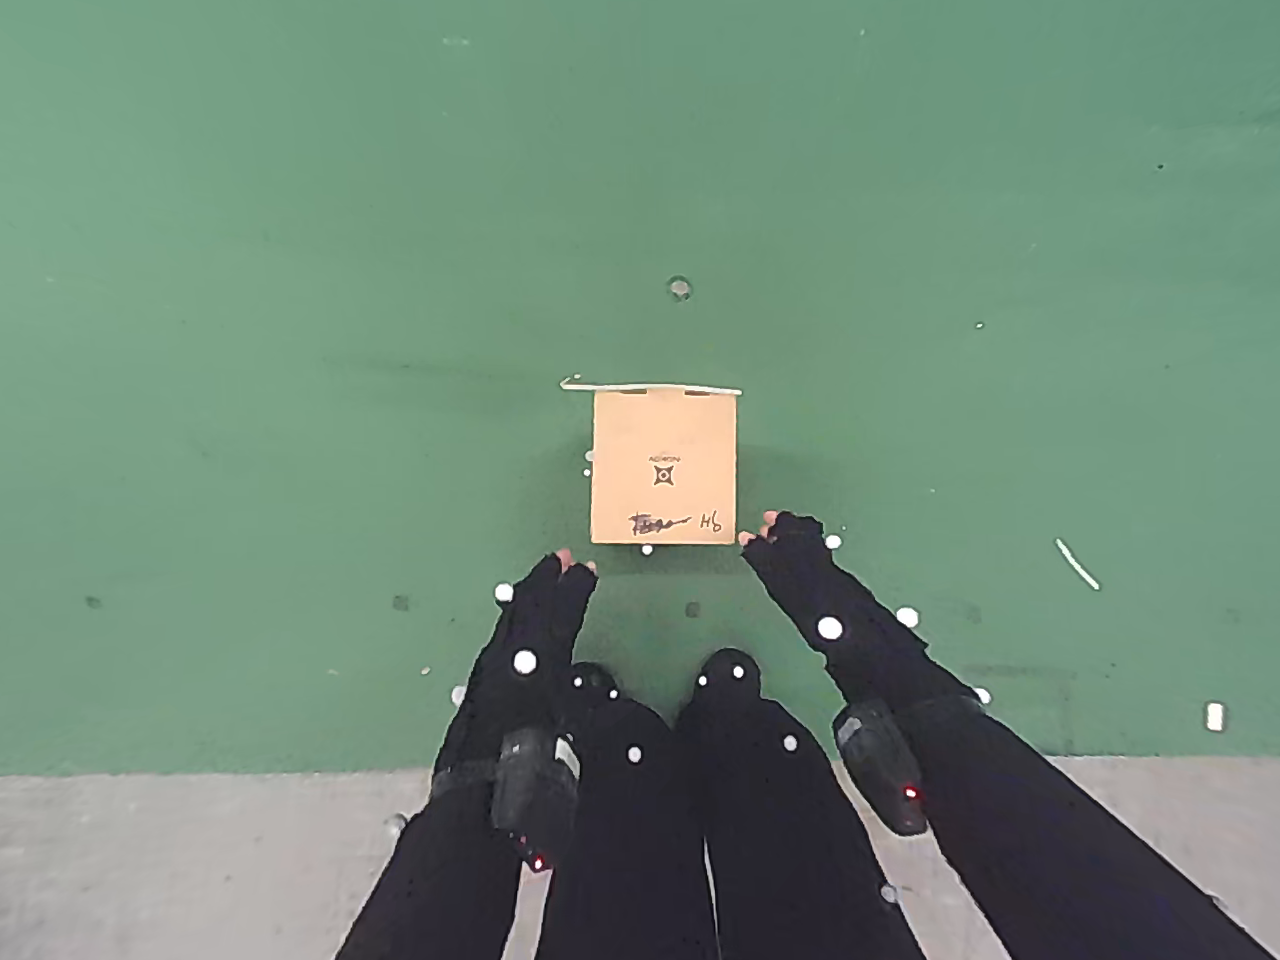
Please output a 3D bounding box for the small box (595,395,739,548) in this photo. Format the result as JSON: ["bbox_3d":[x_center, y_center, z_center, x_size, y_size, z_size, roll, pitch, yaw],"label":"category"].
[{"bbox_3d":[0.028,-0.005,0.700,0.168,0.176,0.179,1,87,-1],"label":"small box"}]
